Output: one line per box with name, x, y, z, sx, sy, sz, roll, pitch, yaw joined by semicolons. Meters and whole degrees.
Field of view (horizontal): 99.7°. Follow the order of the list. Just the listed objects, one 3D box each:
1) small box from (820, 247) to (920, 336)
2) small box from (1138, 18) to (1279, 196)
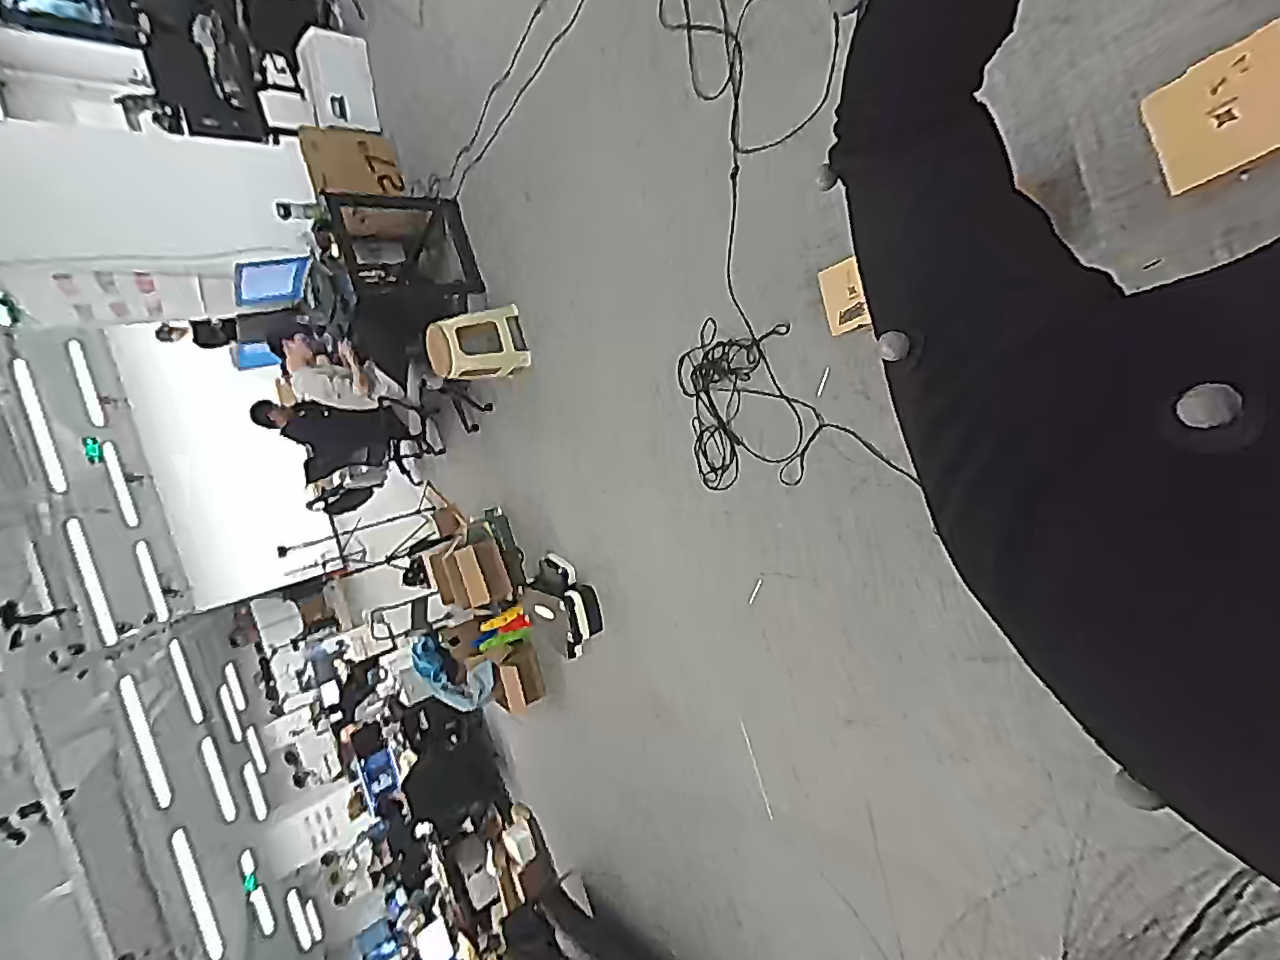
small box;0.606;-0.494;1.419;0.168;0.176;0.179;-10;96;54
small box;0.976;-0.599;0.894;0.168;0.176;0.179;-21;88;53
